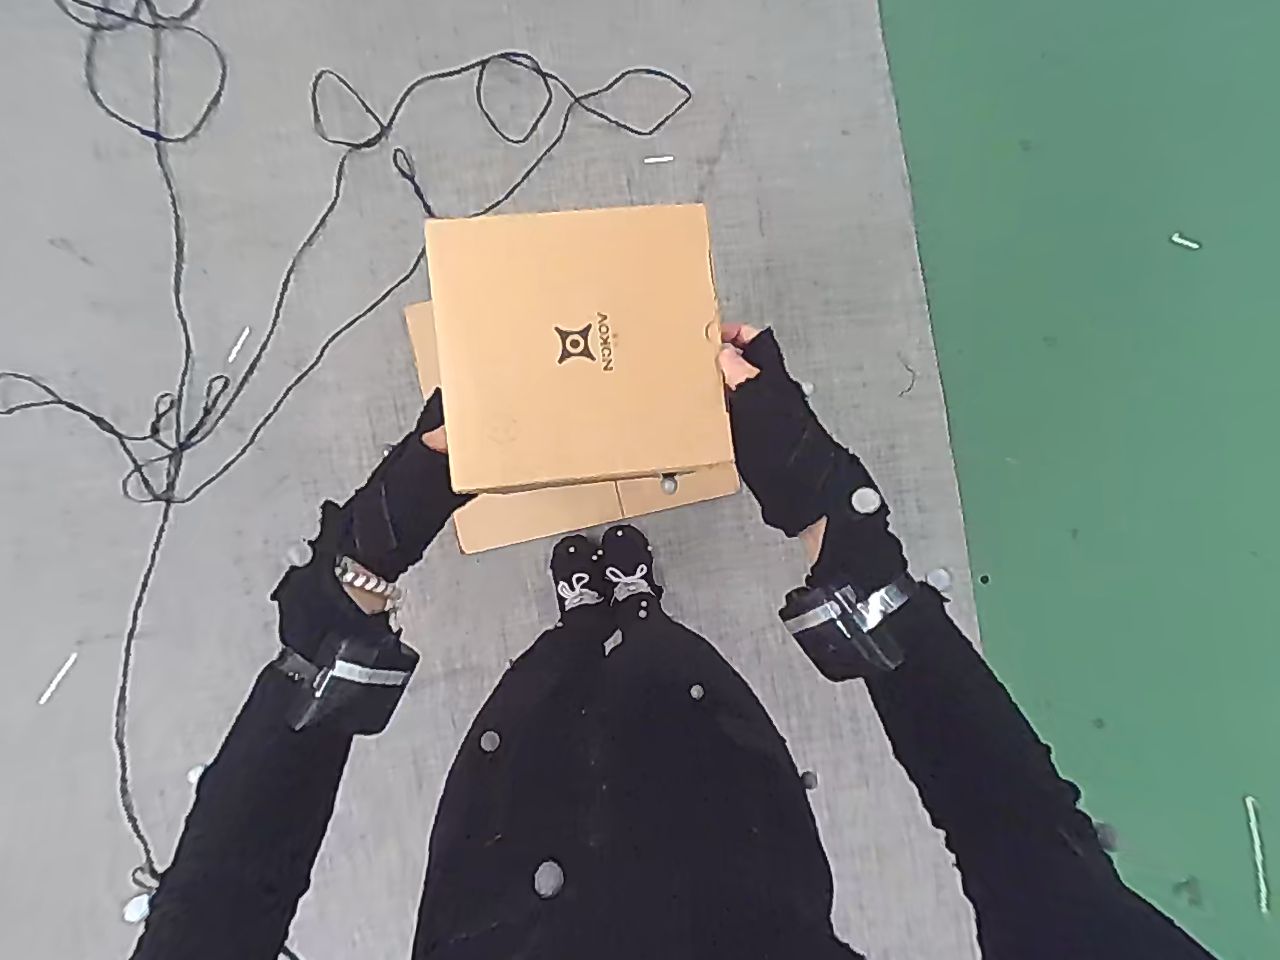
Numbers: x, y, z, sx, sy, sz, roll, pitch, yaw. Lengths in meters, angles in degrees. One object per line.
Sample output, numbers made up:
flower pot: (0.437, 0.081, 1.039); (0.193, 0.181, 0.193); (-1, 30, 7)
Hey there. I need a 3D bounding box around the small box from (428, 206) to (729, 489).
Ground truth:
small box: (-0.042, -0.082, 0.415); (0.179, 0.176, 0.168); (-6, 89, -5)
